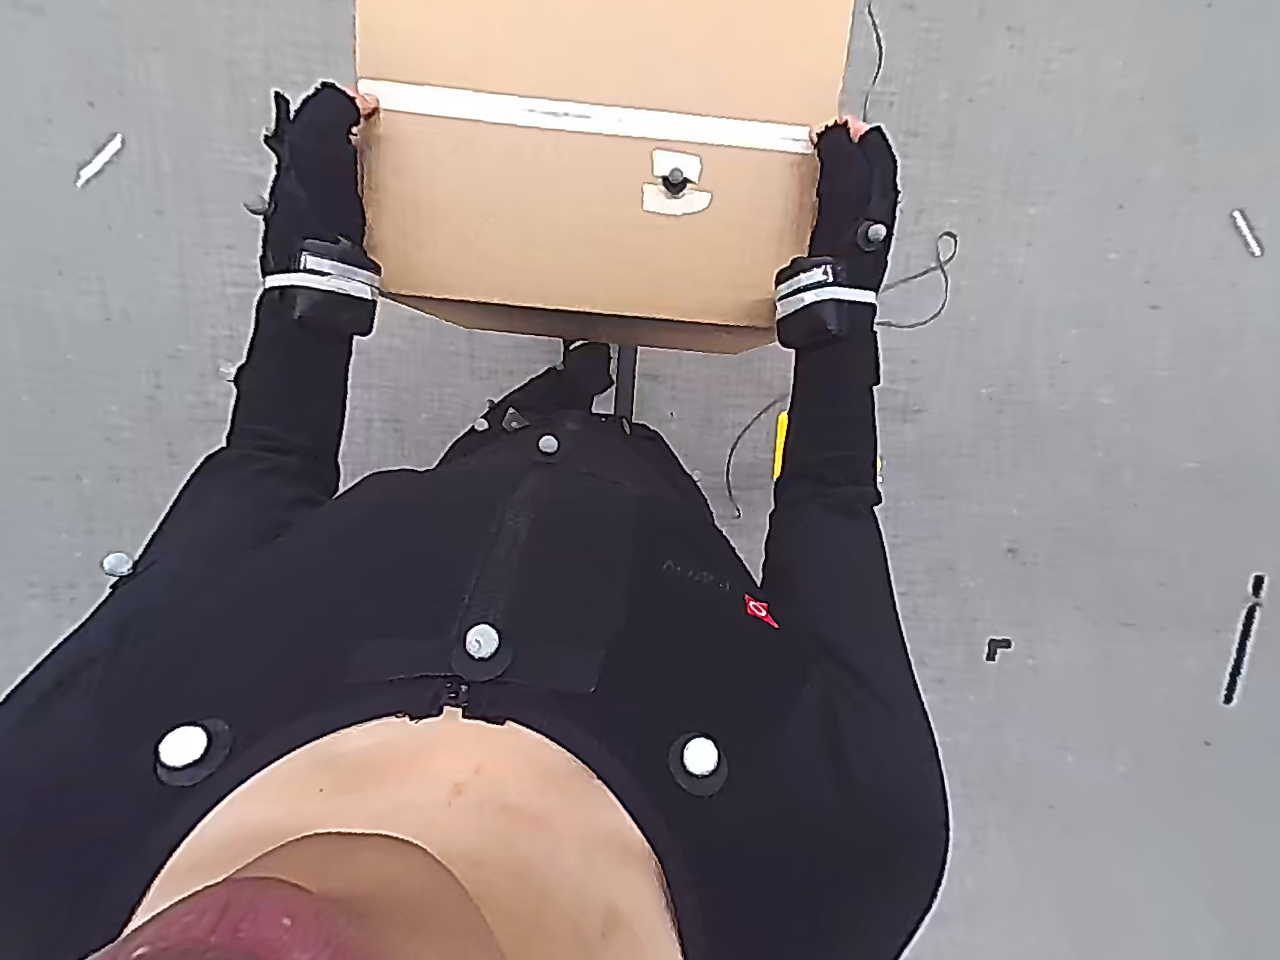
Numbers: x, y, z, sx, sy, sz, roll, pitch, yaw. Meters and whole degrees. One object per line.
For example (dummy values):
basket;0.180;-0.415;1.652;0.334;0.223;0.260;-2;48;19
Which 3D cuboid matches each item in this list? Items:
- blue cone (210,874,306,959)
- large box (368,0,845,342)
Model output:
blue cone;-1.087;1.281;1.442;0.192;0.380;0.193;7;97;-1
large box;-0.039;-0.340;0.611;0.408;0.320;0.320;4;100;-3
